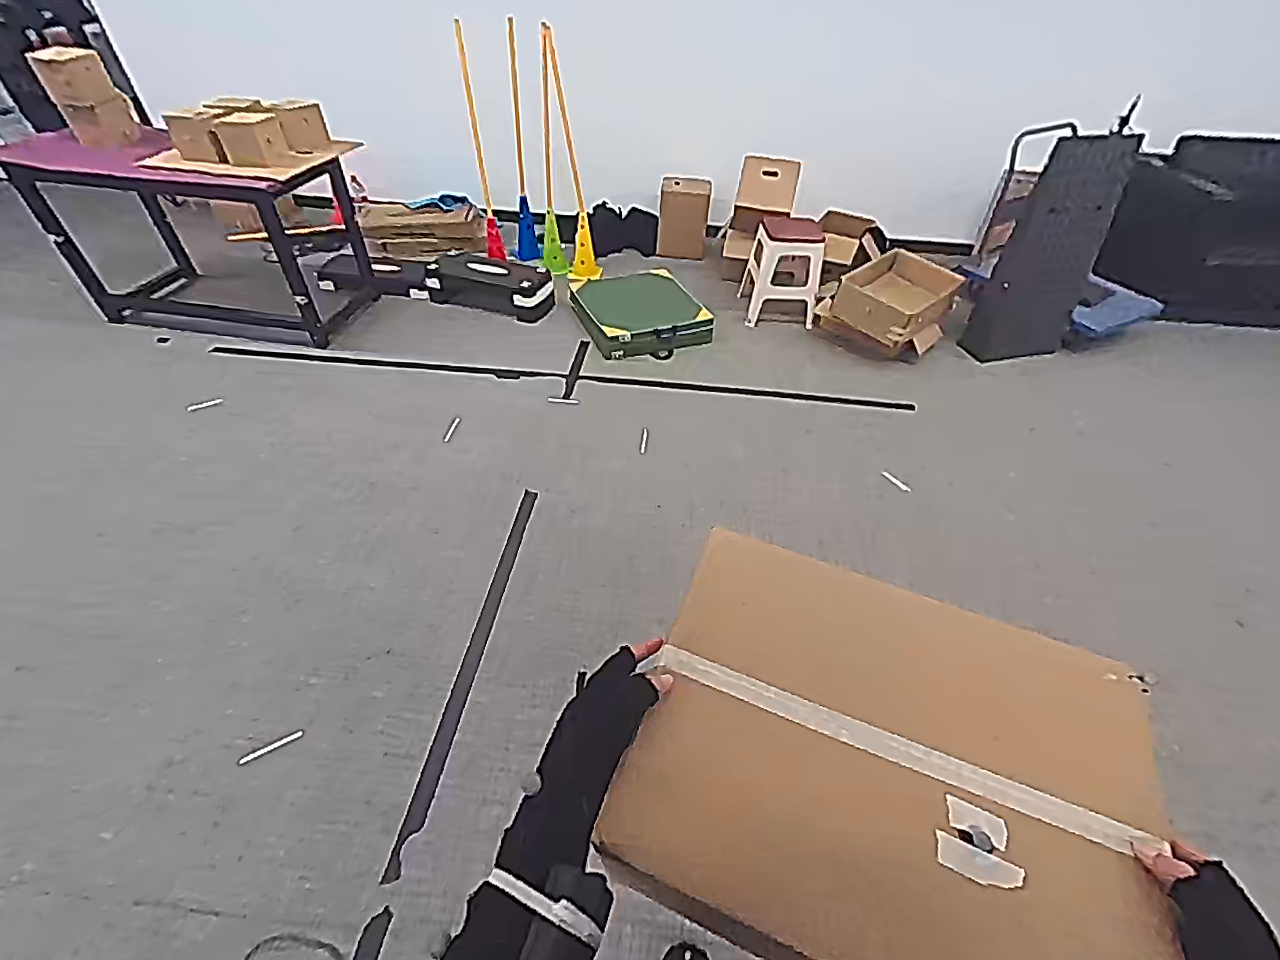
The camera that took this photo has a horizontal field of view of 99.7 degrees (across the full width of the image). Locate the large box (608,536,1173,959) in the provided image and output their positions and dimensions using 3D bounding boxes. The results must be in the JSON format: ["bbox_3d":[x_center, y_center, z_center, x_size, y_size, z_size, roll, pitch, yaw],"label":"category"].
[{"bbox_3d":[0.208,0.319,0.576,0.408,0.320,0.320,19,53,14],"label":"large box"}]
